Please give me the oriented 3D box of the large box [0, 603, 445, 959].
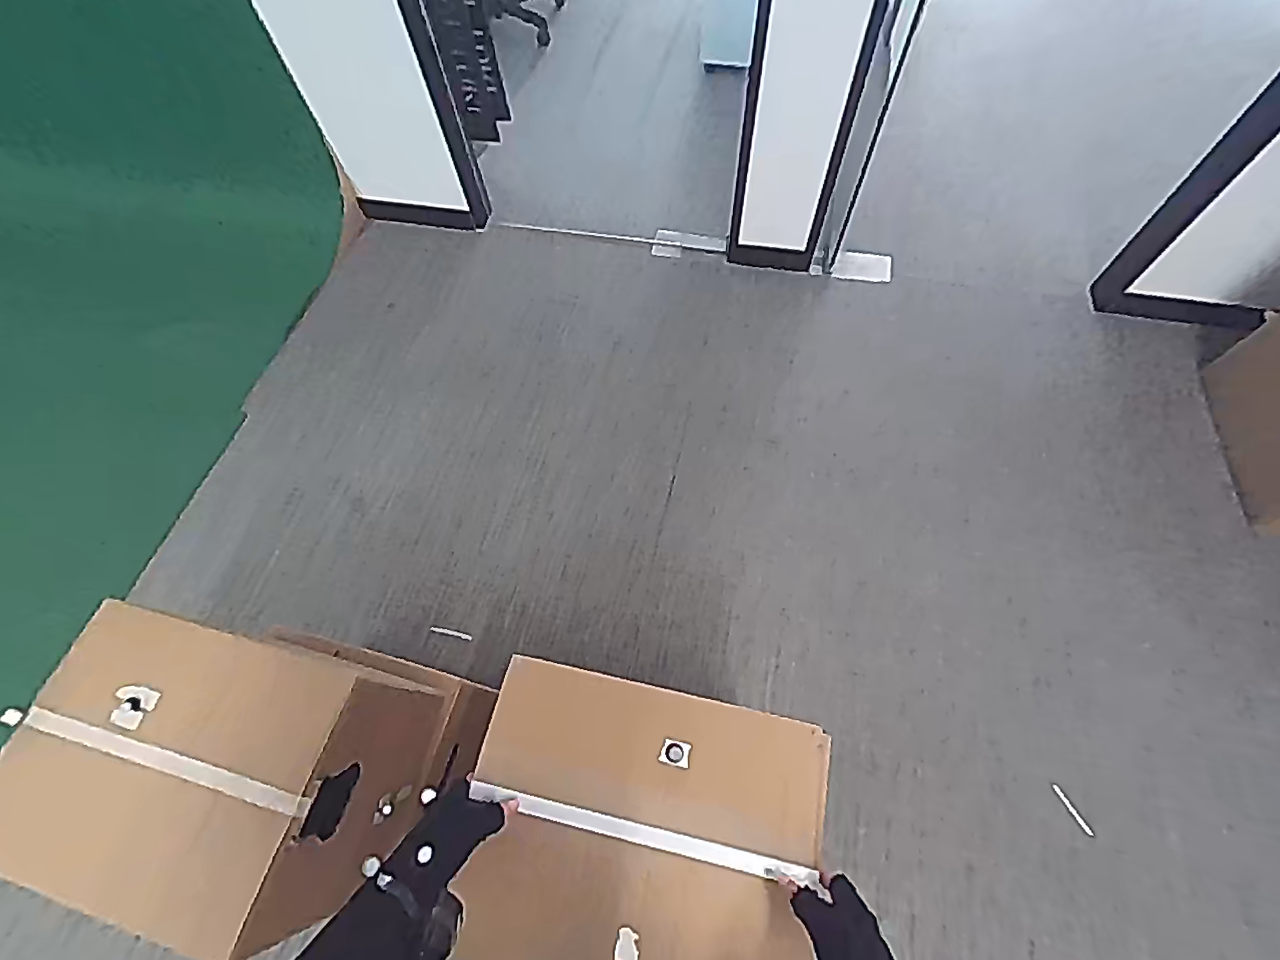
[{"bbox_3d":[-0.578,0.407,0.803,0.408,0.320,0.320,12,65,10],"label":"large box"}]
